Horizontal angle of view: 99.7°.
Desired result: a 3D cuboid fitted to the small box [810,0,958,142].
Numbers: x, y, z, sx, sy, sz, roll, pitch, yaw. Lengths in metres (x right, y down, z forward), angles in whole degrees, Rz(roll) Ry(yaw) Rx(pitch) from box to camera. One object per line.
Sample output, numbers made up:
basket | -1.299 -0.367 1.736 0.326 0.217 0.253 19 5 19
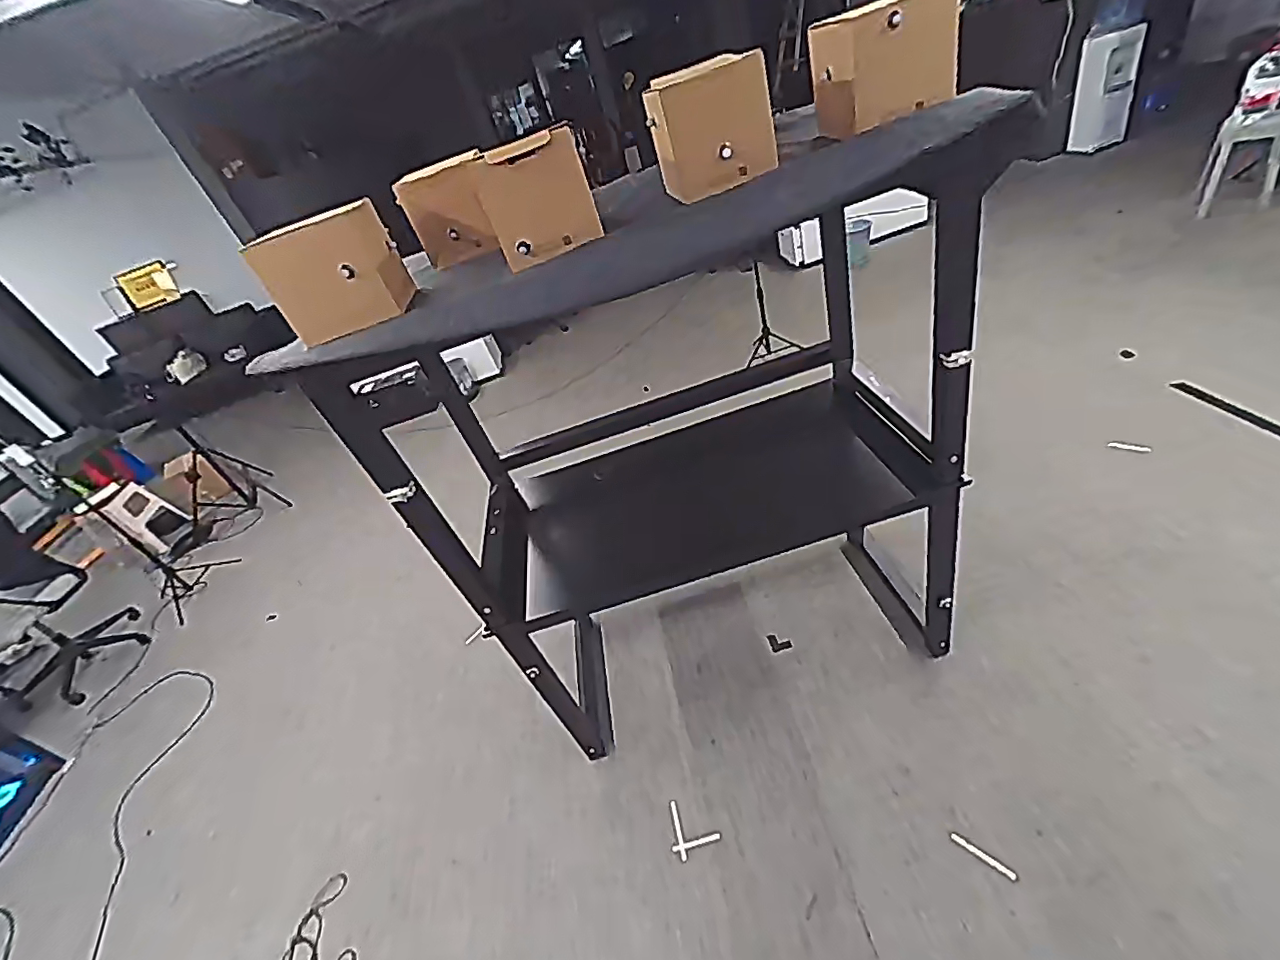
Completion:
small box | 0.399 -0.686 0.903 0.168 0.176 0.179 -18 35 5

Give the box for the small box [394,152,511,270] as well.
small box | -0.380 -0.561 1.132 0.168 0.176 0.179 -20 37 2

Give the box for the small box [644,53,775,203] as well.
small box | 0.116 -0.591 0.921 0.168 0.176 0.179 -19 35 3

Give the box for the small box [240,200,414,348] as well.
small box | -0.513 -0.351 0.921 0.179 0.176 0.168 -19 35 1
